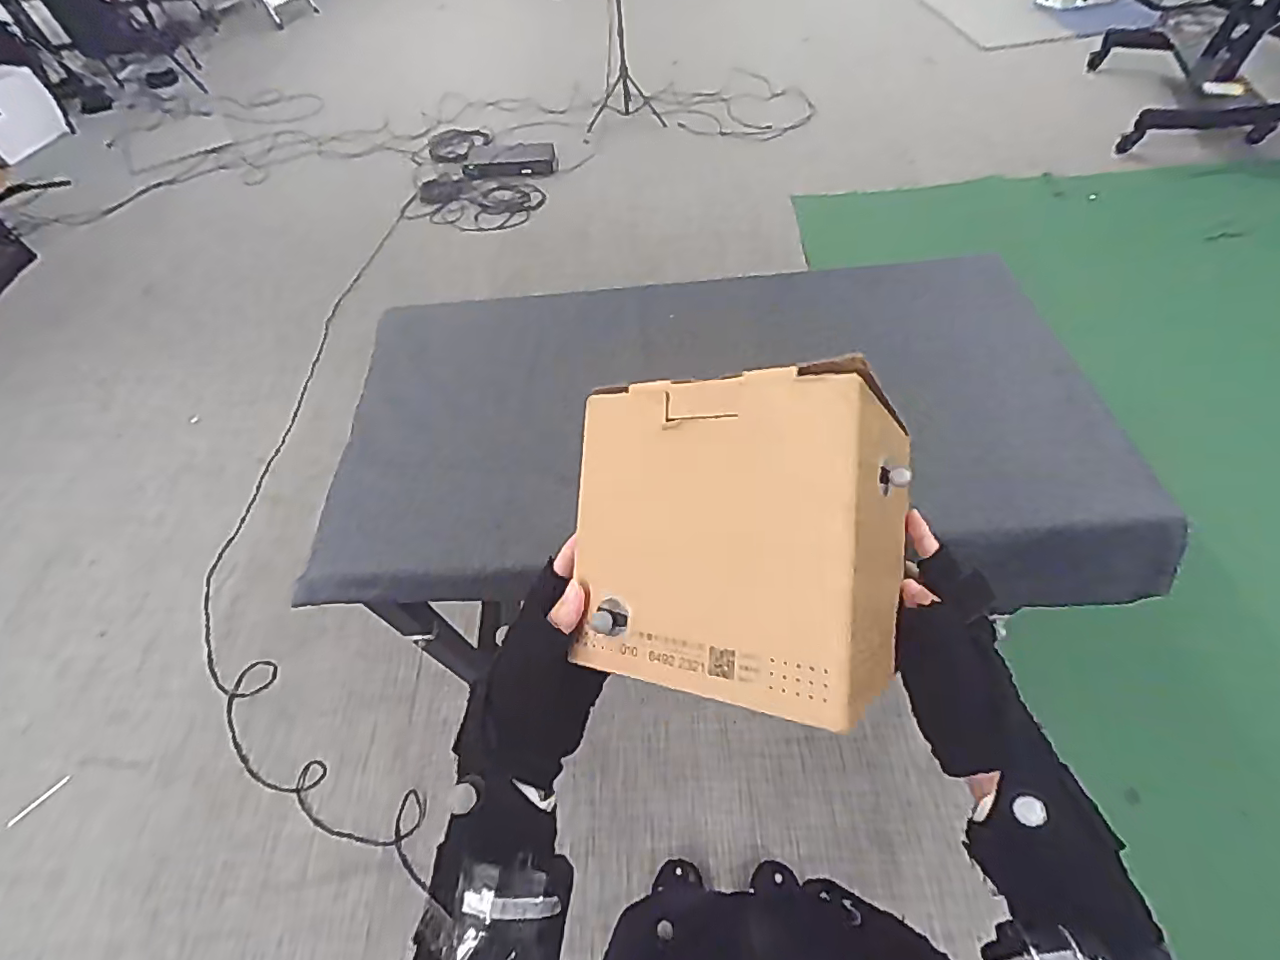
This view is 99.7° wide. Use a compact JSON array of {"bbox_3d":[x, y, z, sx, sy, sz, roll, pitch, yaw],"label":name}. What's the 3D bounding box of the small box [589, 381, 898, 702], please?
[{"bbox_3d":[0.077,0.039,0.378,0.168,0.179,0.176,2,86,33],"label":"small box"}]
